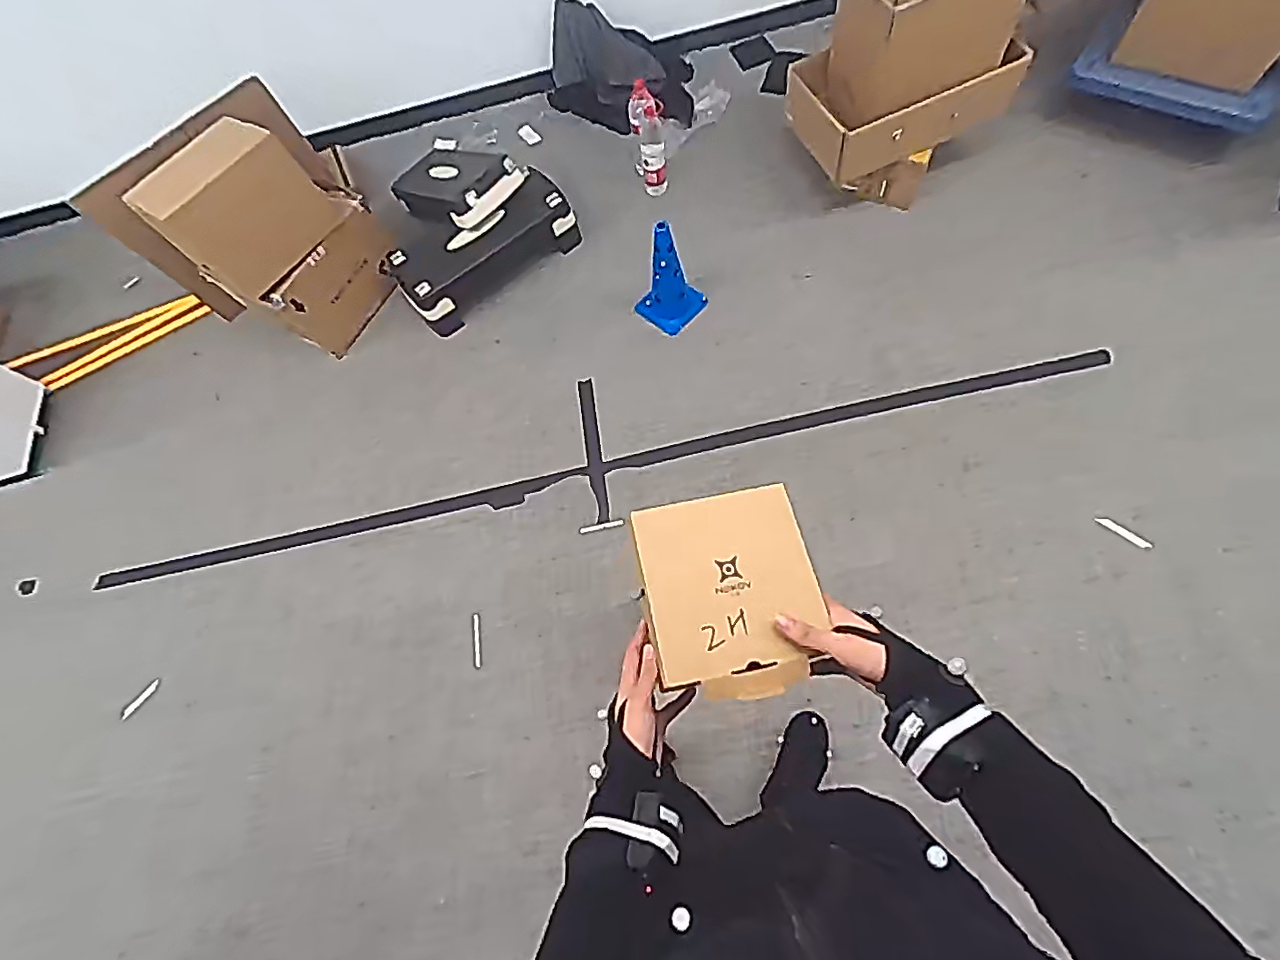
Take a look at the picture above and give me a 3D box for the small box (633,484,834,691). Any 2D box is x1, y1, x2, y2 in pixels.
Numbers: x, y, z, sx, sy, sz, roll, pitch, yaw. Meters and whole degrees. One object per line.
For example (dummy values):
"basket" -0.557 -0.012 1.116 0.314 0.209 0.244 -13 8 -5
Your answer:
"small box" 0.085 0.126 0.601 0.168 0.176 0.179 -10 68 -4
